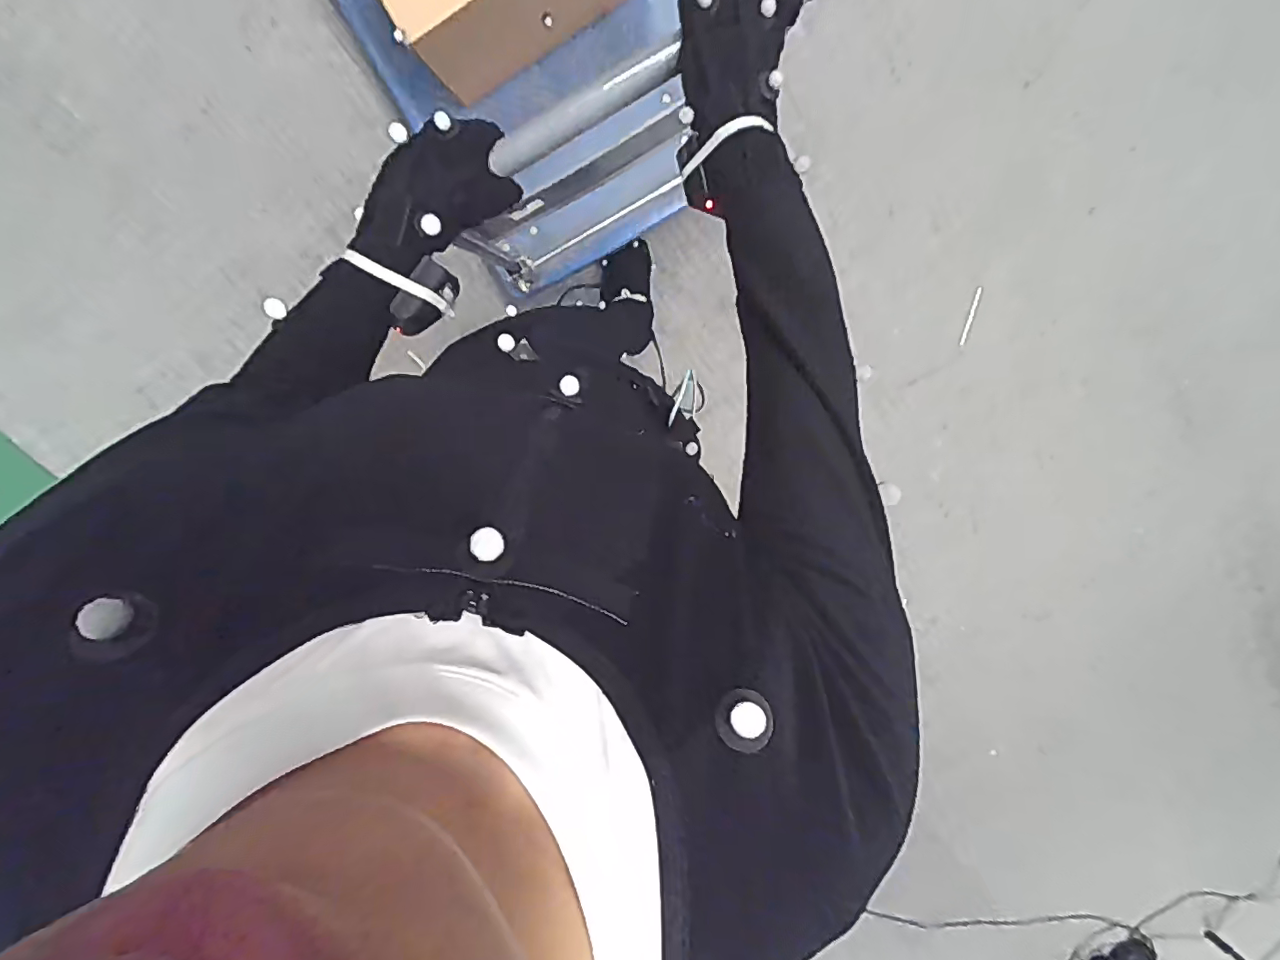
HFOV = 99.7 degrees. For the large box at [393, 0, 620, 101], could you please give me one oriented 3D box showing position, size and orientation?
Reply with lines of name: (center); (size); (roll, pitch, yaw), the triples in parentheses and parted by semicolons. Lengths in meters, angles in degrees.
large box: (-0.221, -0.893, 0.837); (0.408, 0.320, 0.320); (-28, 109, 9)
